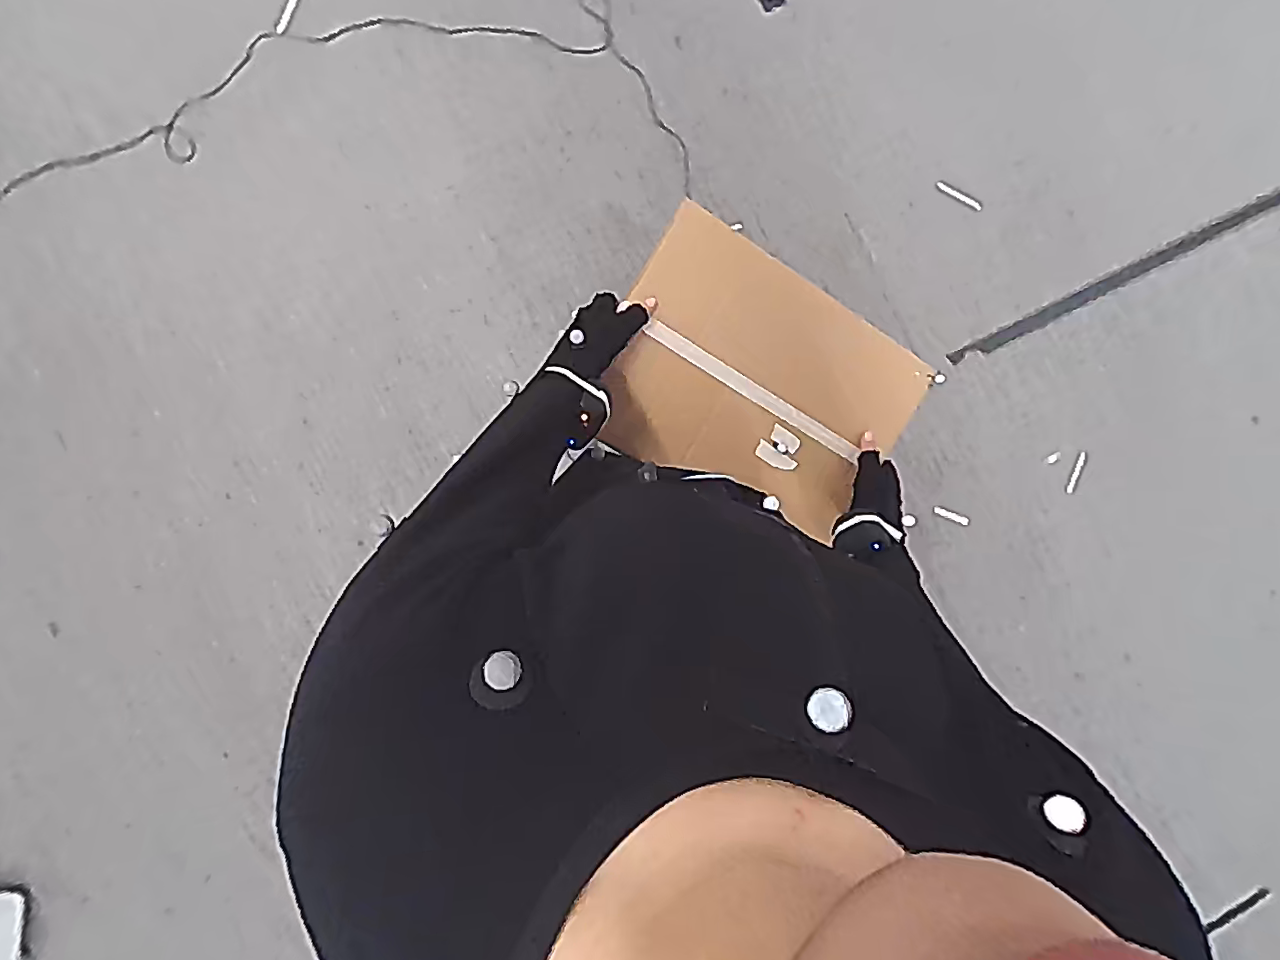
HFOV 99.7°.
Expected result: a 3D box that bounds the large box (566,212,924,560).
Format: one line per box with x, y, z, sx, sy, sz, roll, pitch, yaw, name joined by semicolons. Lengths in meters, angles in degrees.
0.127;-0.131;0.860;0.408;0.320;0.320;31;93;-10;large box
